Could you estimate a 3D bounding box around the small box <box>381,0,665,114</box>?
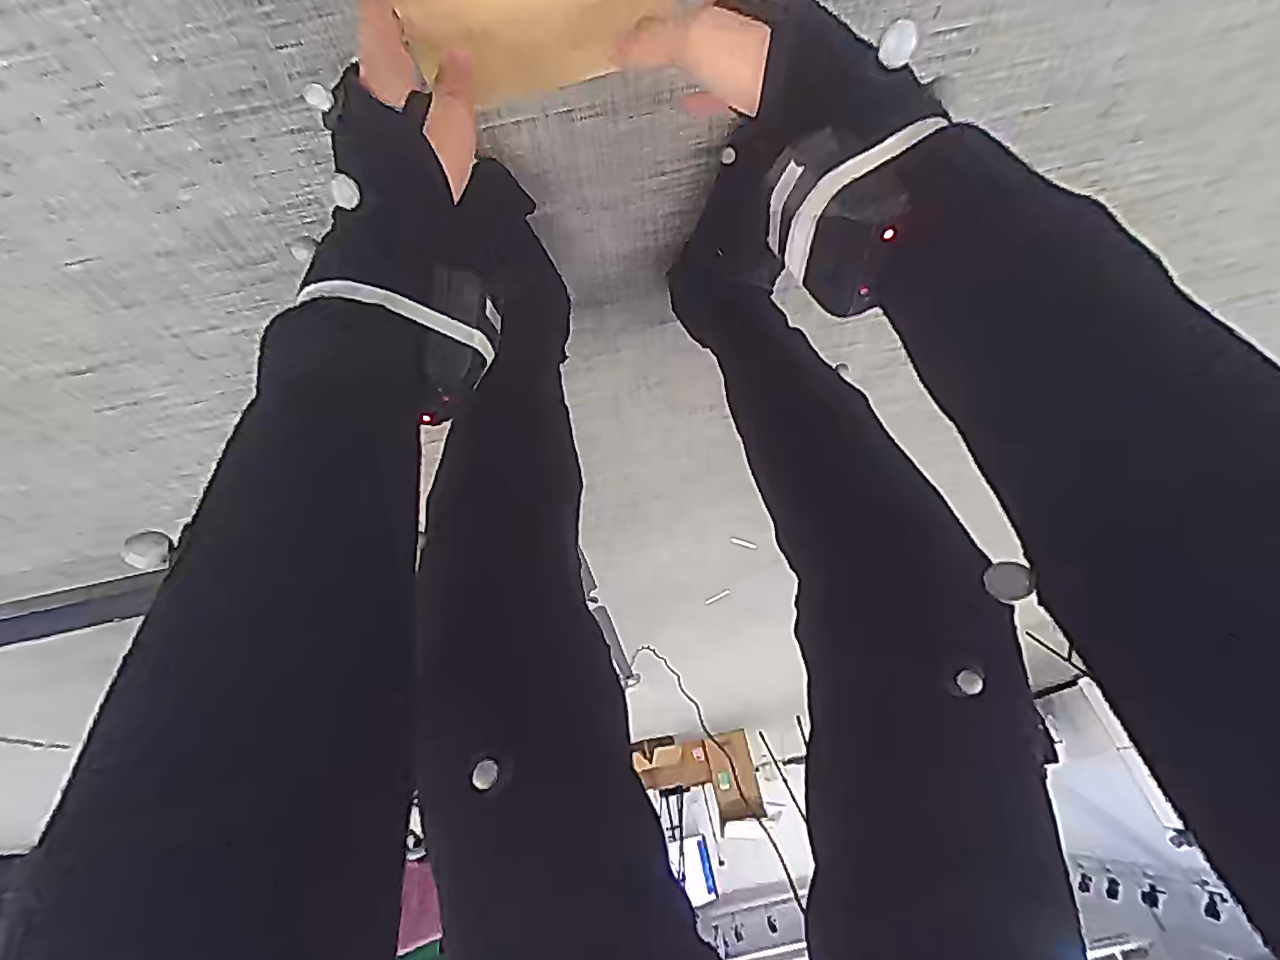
[{"bbox_3d":[-0.088,-0.372,0.328,0.168,0.176,0.179,-15,148,2],"label":"small box"}]
